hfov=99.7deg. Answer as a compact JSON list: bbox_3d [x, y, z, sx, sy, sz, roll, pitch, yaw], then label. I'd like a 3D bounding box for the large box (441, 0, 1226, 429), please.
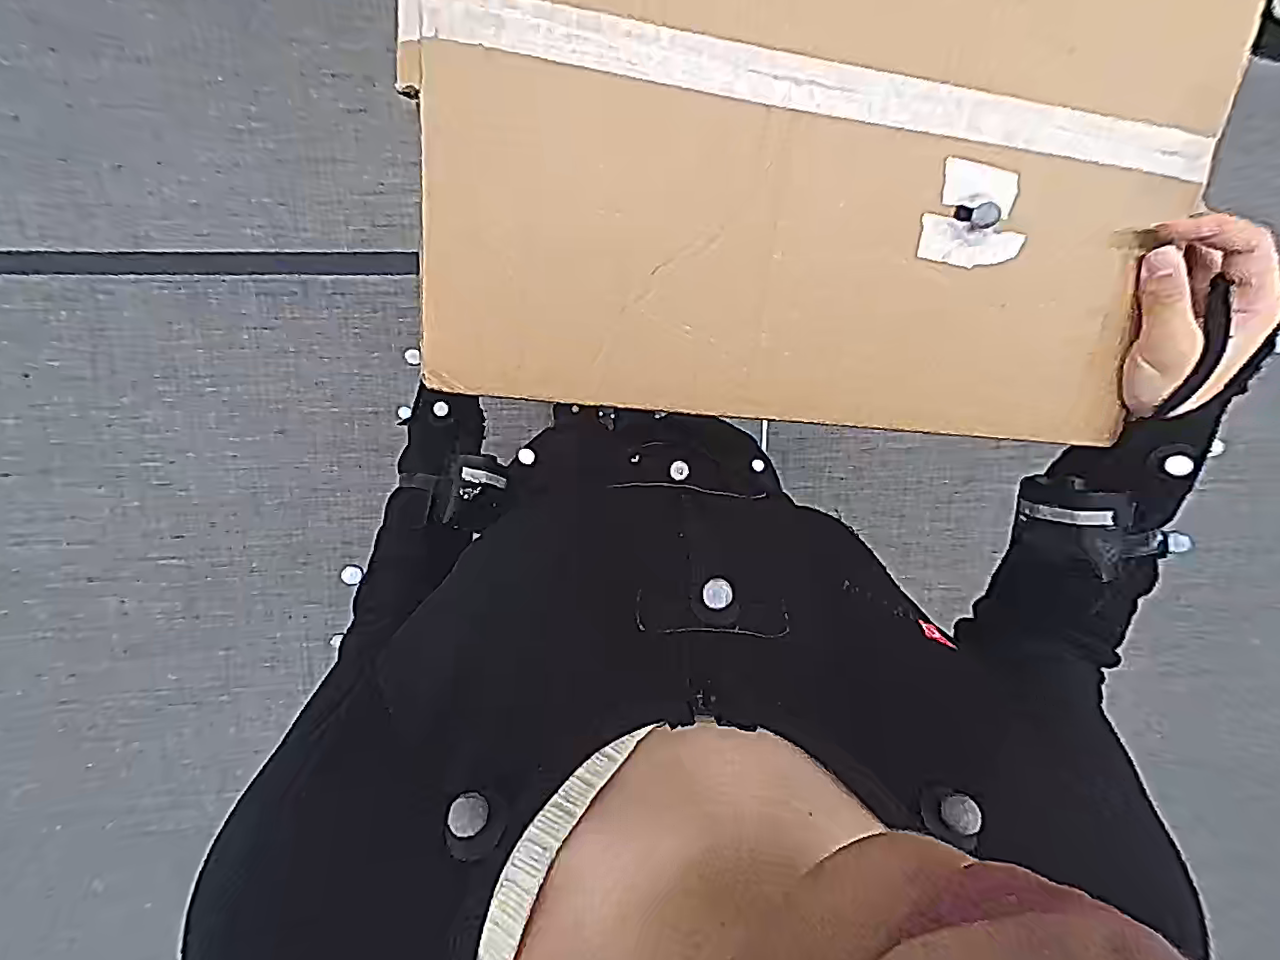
[{"bbox_3d":[0.080,-0.225,0.411,0.408,0.320,0.320,3,105,-12],"label":"large box"}]
